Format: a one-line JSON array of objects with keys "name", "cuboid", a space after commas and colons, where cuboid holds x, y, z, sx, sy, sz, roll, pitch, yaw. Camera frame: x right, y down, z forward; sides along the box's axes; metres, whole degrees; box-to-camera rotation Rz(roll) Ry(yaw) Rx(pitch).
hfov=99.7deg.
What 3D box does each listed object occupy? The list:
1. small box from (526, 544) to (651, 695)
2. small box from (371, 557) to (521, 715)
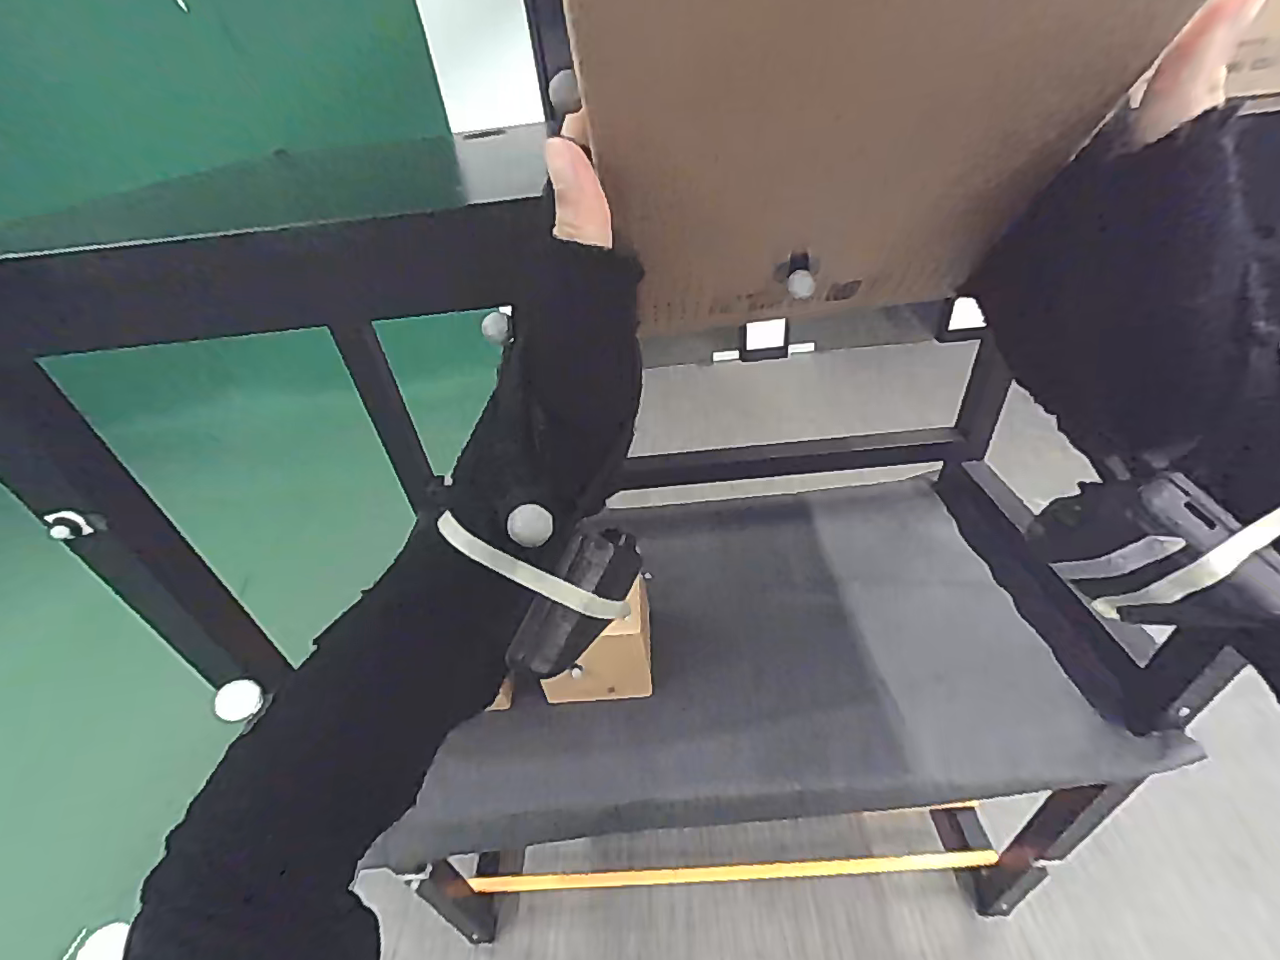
[{"name": "small box", "cuboid": [-0.072, 0.229, 0.872, 0.168, 0.176, 0.179, -5, 36, 3]}, {"name": "small box", "cuboid": [-0.298, 0.251, 0.877, 0.168, 0.176, 0.179, -7, 37, 1]}]
